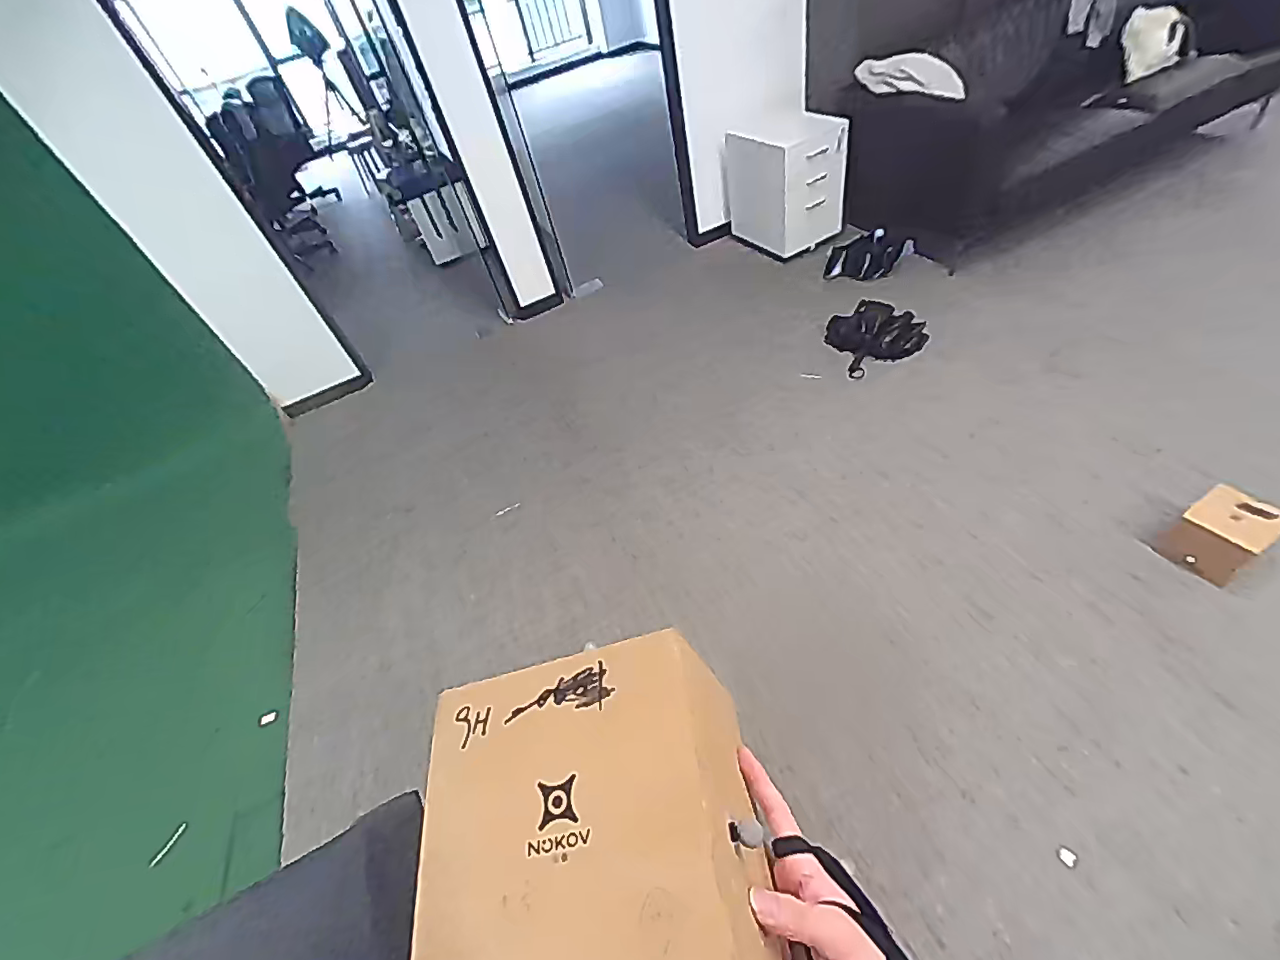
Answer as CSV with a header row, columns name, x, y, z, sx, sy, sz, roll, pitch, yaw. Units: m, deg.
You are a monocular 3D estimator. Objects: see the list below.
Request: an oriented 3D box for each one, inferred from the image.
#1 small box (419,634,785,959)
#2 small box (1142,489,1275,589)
name,x,y,z,sx,sy,sz,roll,pitch,yaw
small box,-0.016,0.227,0.351,0.168,0.176,0.179,-19,51,9
small box,1.548,0.163,1.488,0.179,0.176,0.168,-31,47,-13
